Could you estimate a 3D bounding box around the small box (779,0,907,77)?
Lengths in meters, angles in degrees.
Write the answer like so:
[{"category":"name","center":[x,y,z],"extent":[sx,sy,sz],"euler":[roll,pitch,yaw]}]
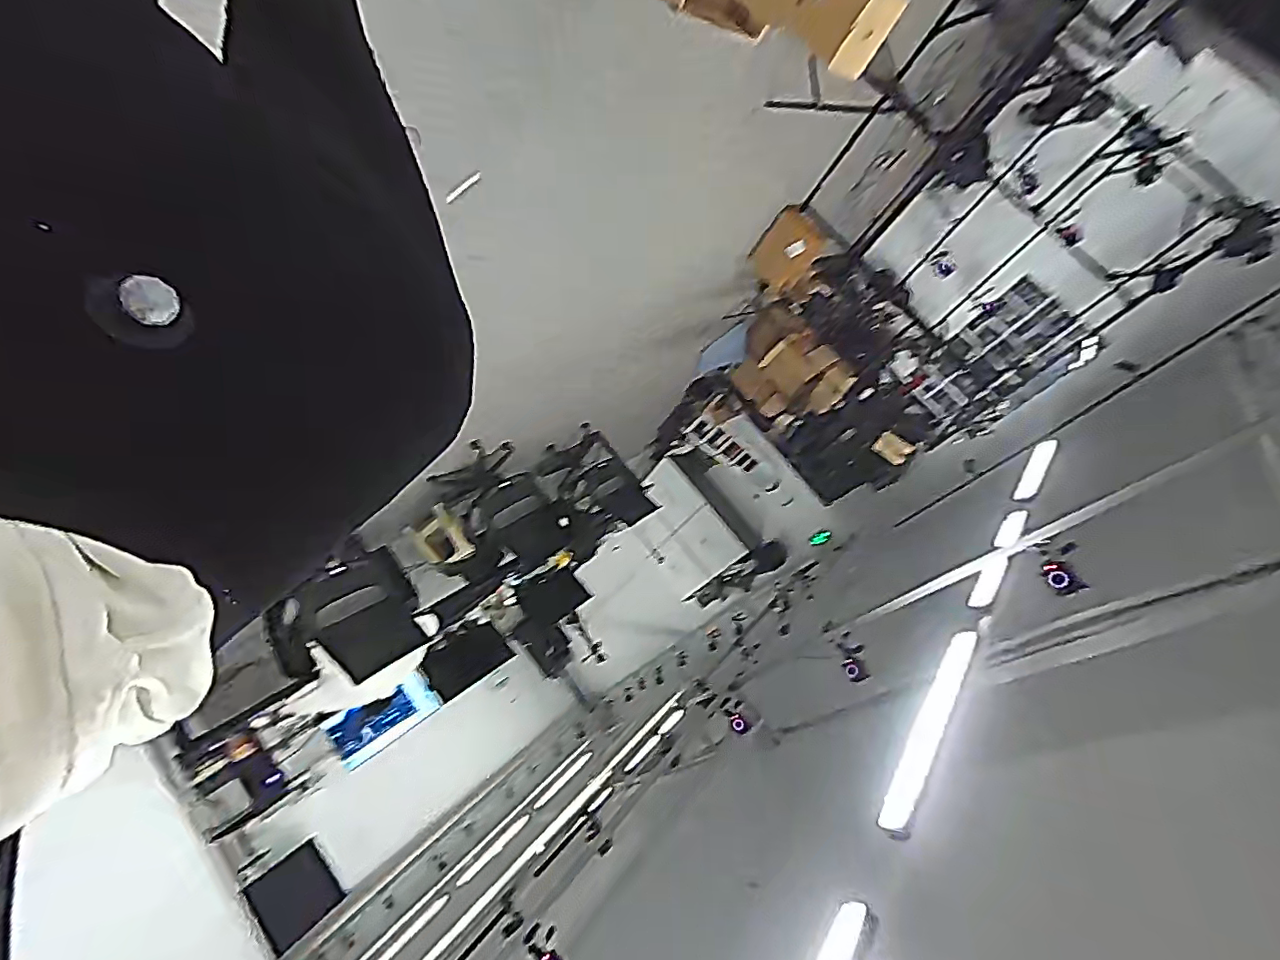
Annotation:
[{"category":"small box","center":[0.450,-1.046,1.206],"extent":[0.179,0.176,0.168],"euler":[-29,163,-42]}]
